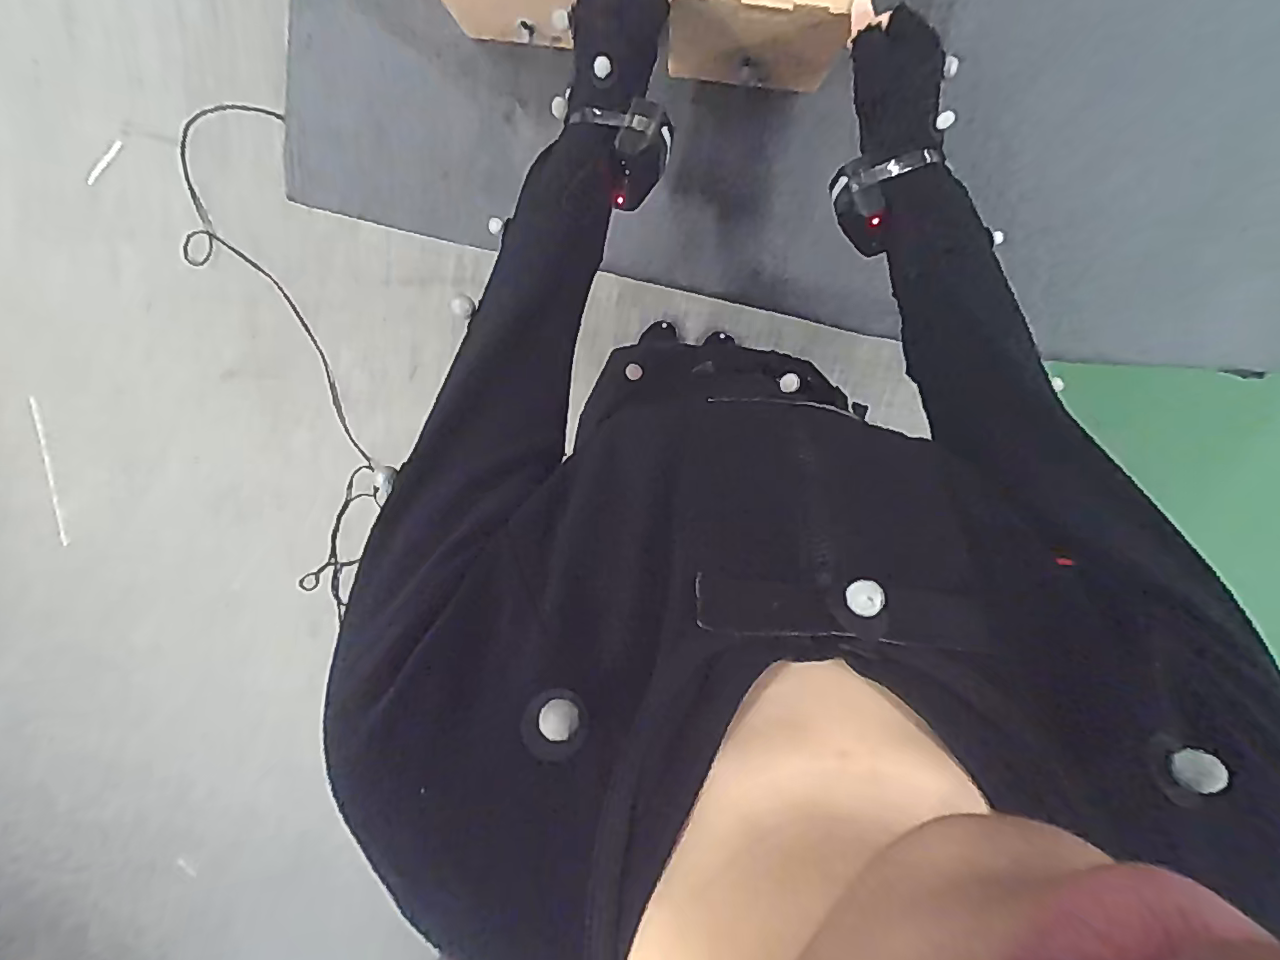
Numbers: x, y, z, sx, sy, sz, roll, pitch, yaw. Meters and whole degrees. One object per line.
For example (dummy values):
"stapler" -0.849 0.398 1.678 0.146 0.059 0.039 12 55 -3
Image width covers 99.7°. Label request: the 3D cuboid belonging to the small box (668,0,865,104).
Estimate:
"small box" 0.117 -0.492 0.506 0.168 0.176 0.179 7 107 1
